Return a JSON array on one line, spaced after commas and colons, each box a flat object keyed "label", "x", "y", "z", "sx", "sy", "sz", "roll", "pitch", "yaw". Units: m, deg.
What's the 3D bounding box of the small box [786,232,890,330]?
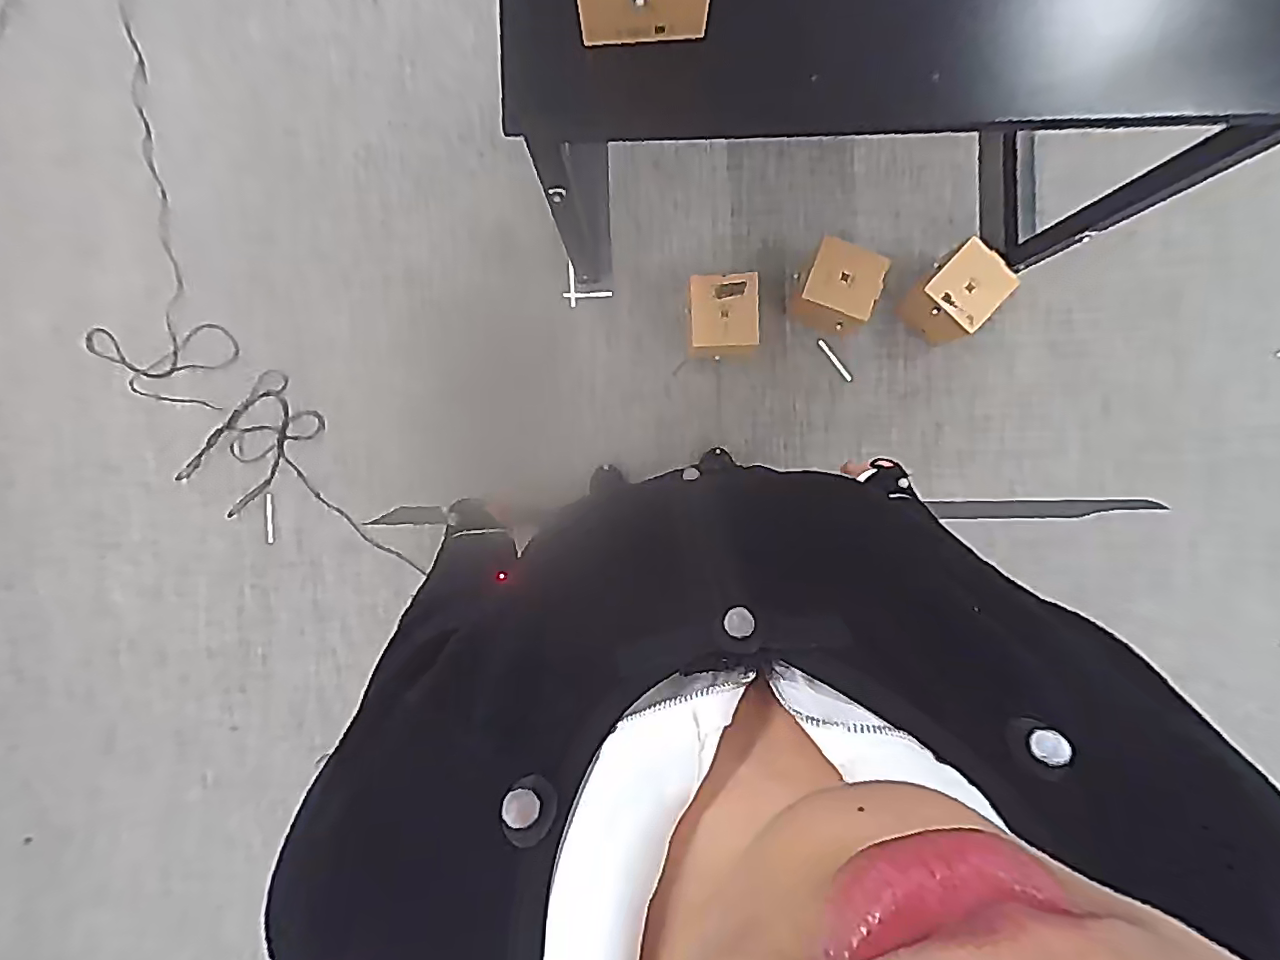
[{"label": "small box", "x": 0.501, "y": -0.501, "z": 1.391, "sx": 0.179, "sy": 0.176, "sz": 0.168, "roll": 20, "pitch": 92, "yaw": 1}]

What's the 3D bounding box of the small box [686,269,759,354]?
[{"label": "small box", "x": 0.208, "y": -0.429, "z": 1.397, "sx": 0.168, "sy": 0.176, "sz": 0.179, "roll": -2, "pitch": 94, "yaw": 1}]

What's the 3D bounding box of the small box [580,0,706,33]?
[{"label": "small box", "x": 0.000, "y": -0.685, "z": 0.654, "sx": 0.168, "sy": 0.176, "sz": 0.179, "roll": -4, "pitch": 93, "yaw": 0}]

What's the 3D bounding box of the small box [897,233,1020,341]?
[{"label": "small box", "x": 0.804, "y": -0.485, "z": 1.386, "sx": 0.168, "sy": 0.176, "sz": 0.179, "roll": 42, "pitch": 93, "yaw": -1}]
